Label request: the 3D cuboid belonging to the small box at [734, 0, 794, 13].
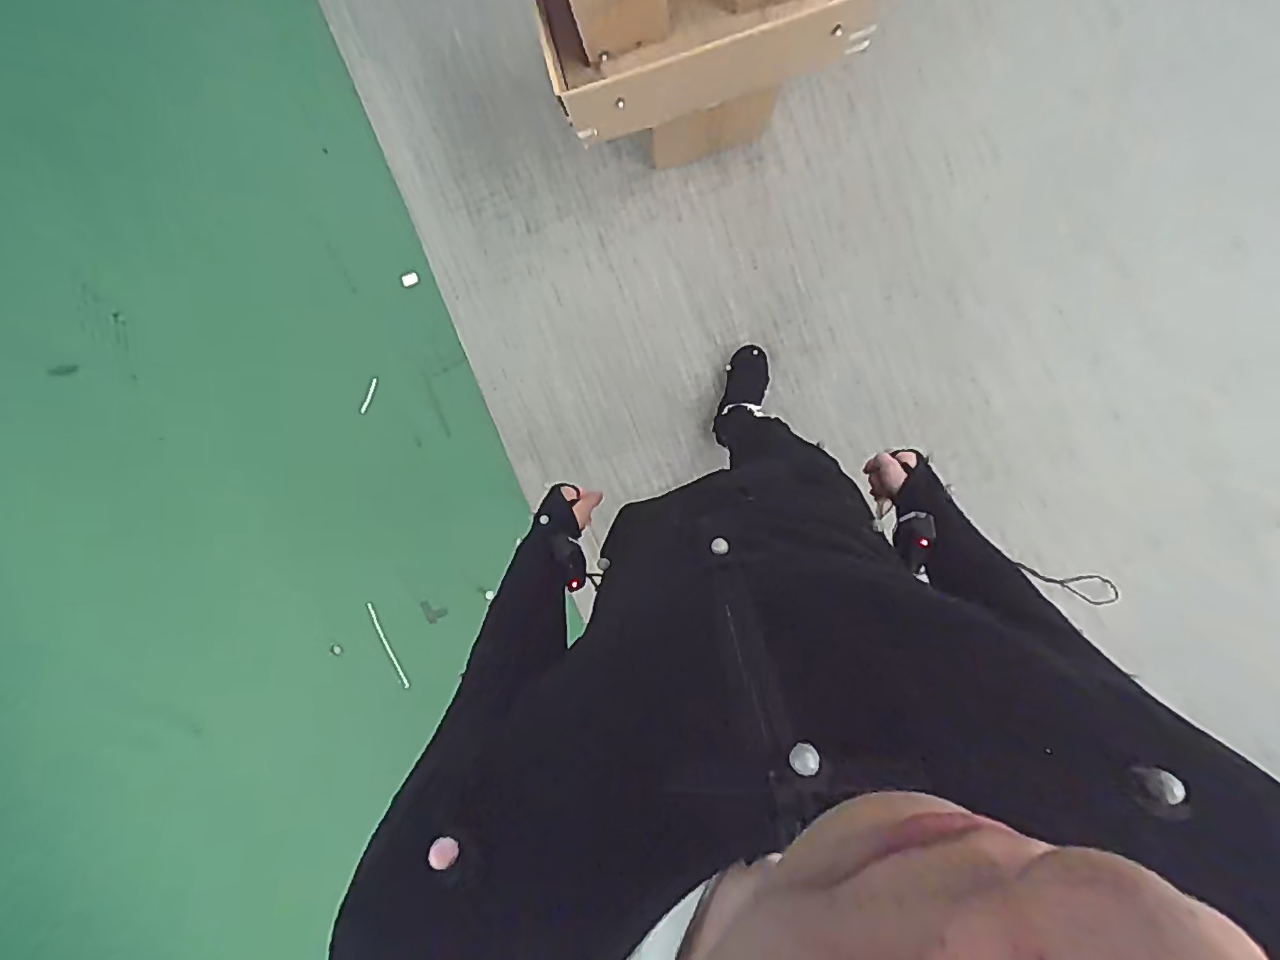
[{"bbox_3d":[0.240,-0.975,0.935,0.168,0.176,0.179,-10,98,7],"label":"small box"}]
